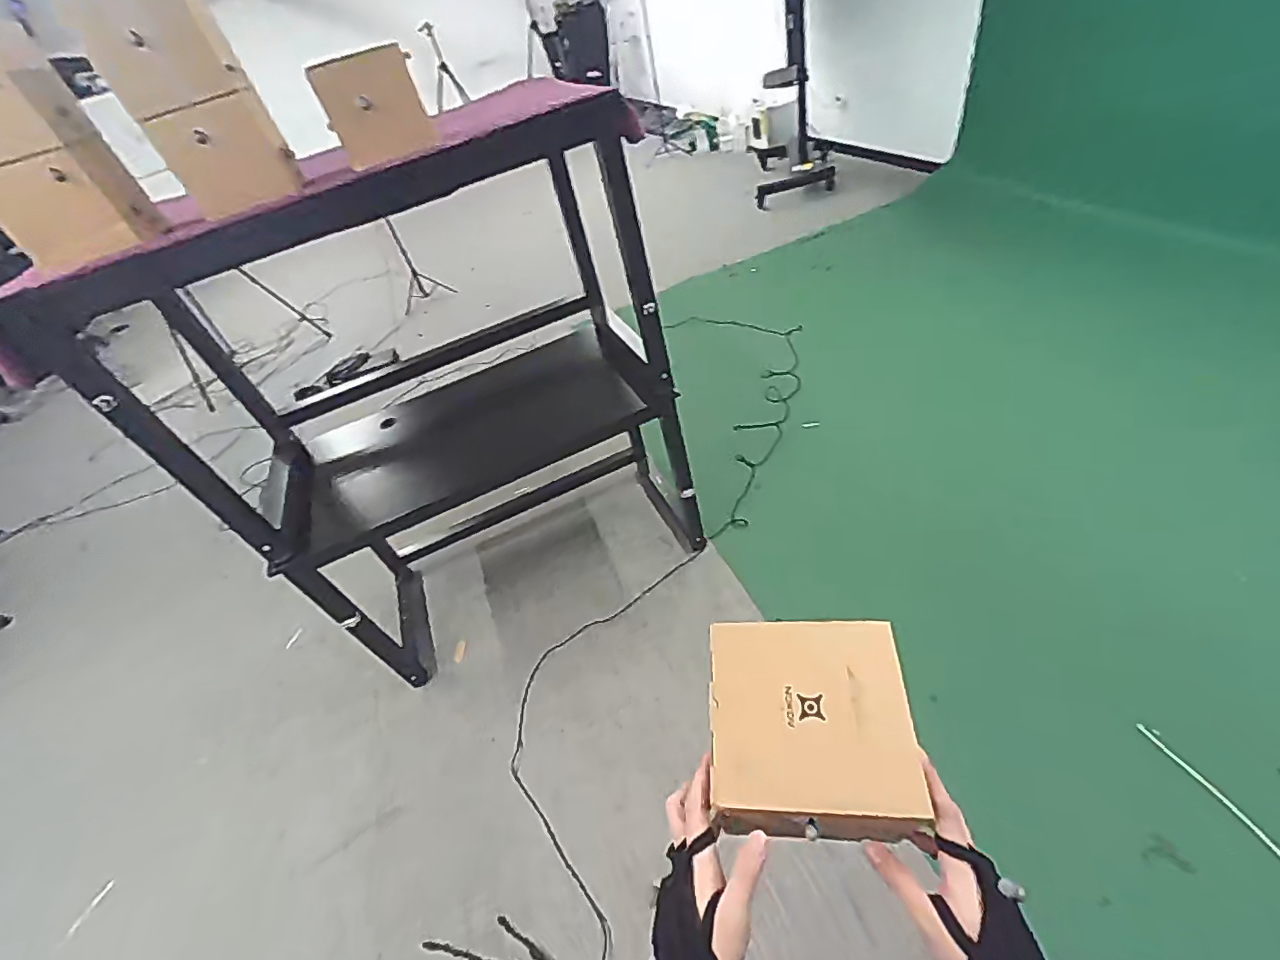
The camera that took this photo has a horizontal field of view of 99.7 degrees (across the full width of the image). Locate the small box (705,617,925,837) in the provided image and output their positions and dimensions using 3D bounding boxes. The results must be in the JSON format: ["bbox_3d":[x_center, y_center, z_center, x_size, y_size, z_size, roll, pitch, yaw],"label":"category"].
[{"bbox_3d":[0.164,0.253,0.550,0.179,0.176,0.168,-4,50,12],"label":"small box"}]

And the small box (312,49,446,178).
[{"bbox_3d":[-0.512,-0.731,1.081,0.179,0.176,0.168,-24,43,-4],"label":"small box"}]

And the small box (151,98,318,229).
[{"bbox_3d":[-0.768,-0.611,1.048,0.179,0.176,0.168,-24,43,-5],"label":"small box"}]

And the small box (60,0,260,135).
[{"bbox_3d":[-0.807,-0.727,0.937,0.179,0.176,0.168,-25,42,-5],"label":"small box"}]

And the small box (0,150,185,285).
[{"bbox_3d":[-1.018,-0.488,1.009,0.179,0.176,0.168,-24,42,-7],"label":"small box"}]
